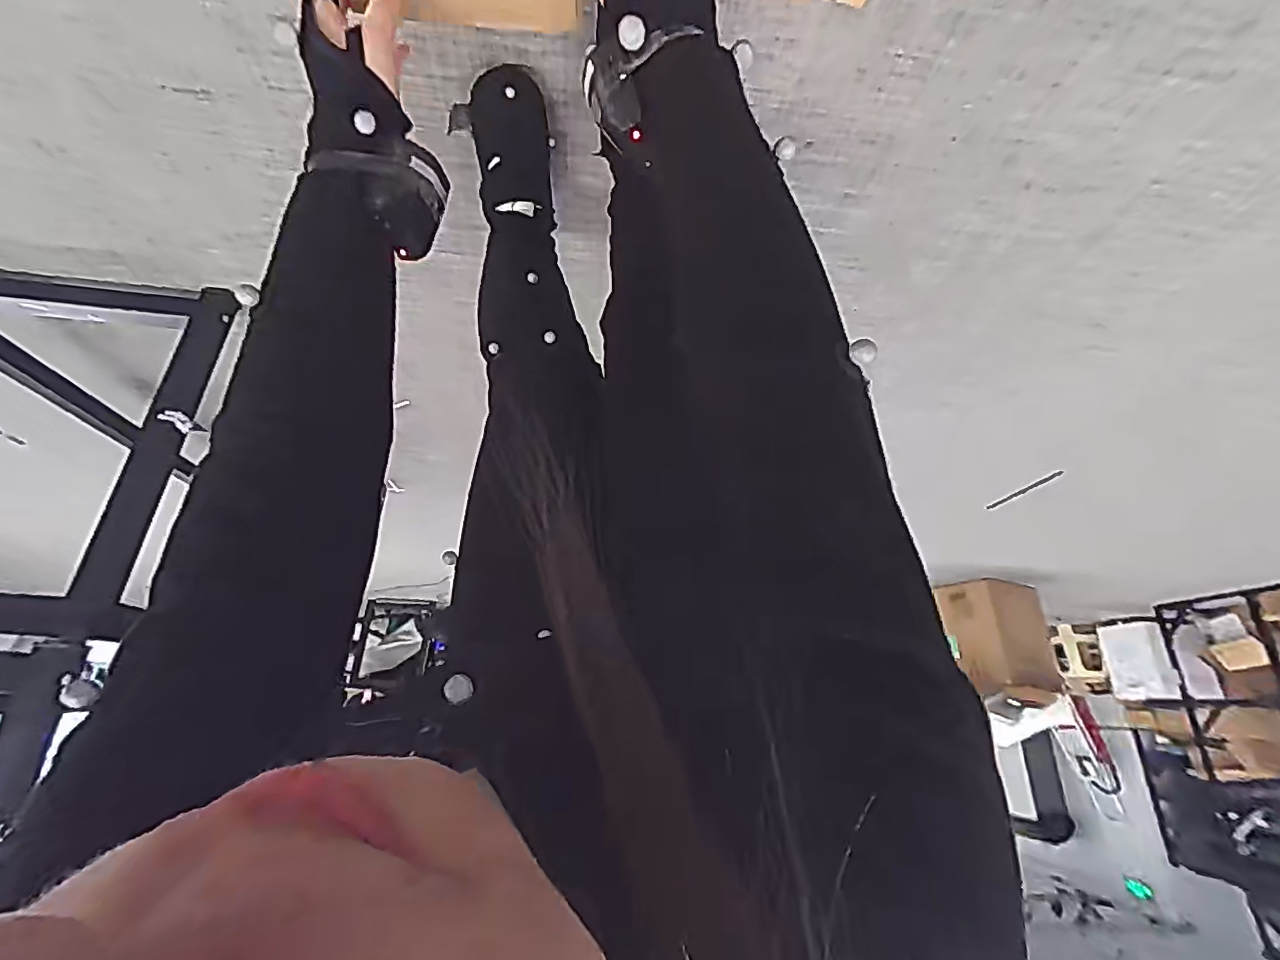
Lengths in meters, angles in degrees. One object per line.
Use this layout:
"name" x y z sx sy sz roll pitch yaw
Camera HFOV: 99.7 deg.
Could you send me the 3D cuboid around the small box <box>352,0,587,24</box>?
"small box" -0.123 -0.457 0.365 0.179 0.176 0.168 2 157 -4
